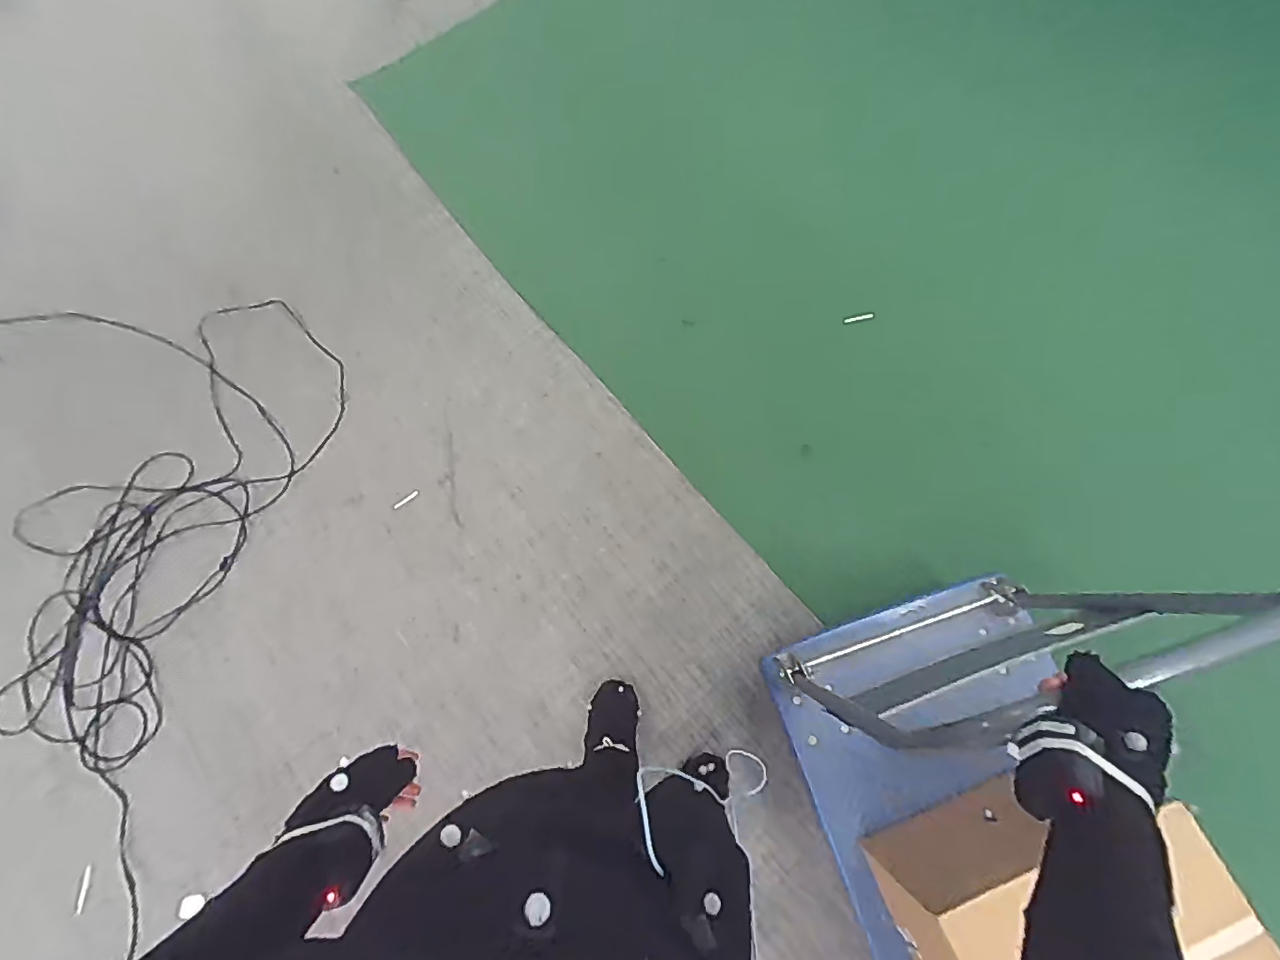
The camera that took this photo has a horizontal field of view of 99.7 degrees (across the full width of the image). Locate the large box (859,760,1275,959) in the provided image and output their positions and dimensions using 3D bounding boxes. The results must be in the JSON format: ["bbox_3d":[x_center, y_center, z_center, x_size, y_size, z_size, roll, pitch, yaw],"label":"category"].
[{"bbox_3d":[0.648,0.709,0.865,0.408,0.320,0.320,-22,74,-5],"label":"large box"}]
